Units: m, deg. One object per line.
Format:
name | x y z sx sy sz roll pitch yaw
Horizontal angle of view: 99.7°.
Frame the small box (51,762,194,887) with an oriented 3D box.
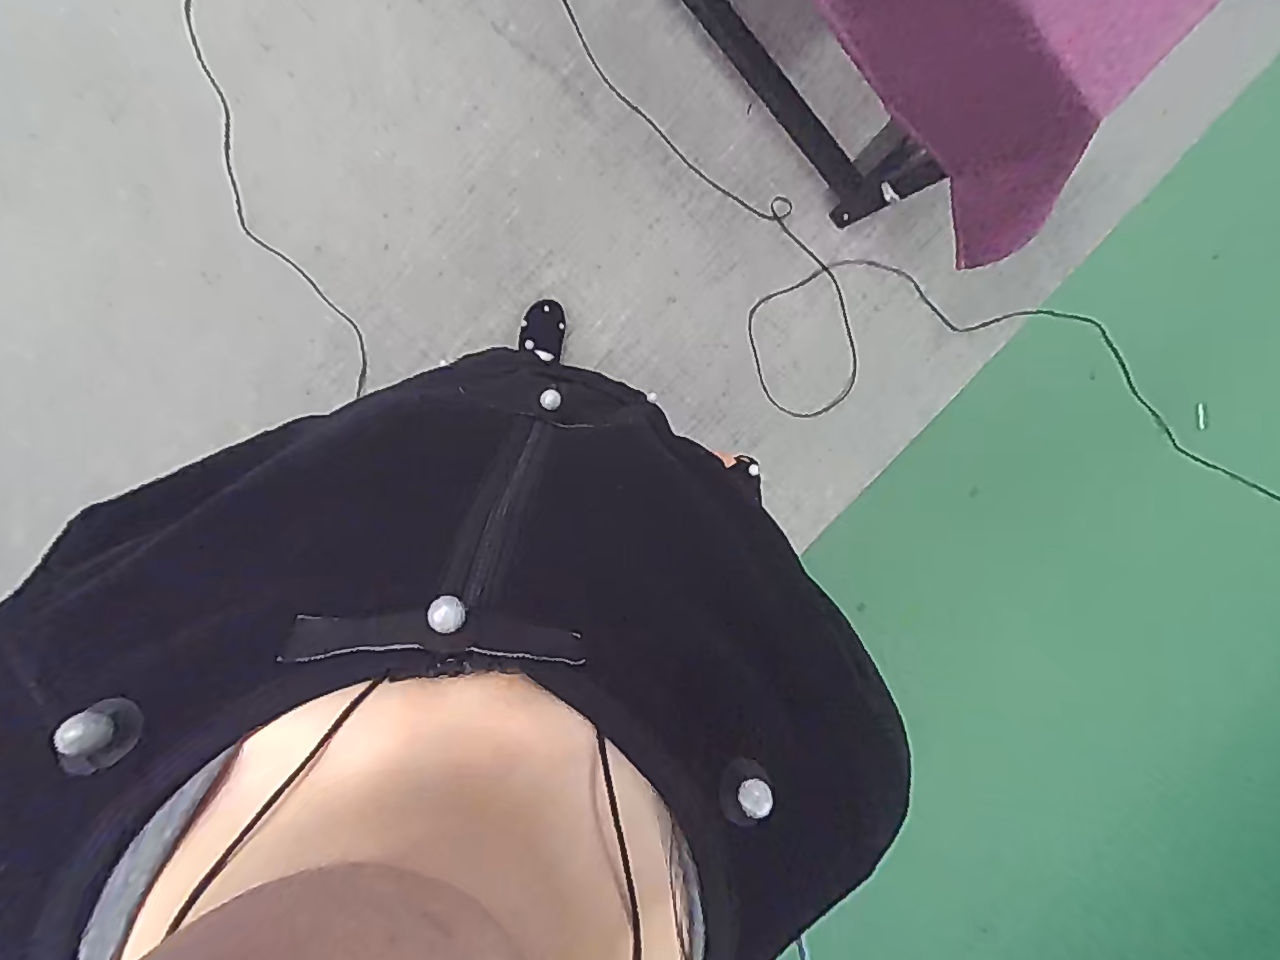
small box | -1.325 0.885 1.401 0.179 0.176 0.168 -45 105 2
